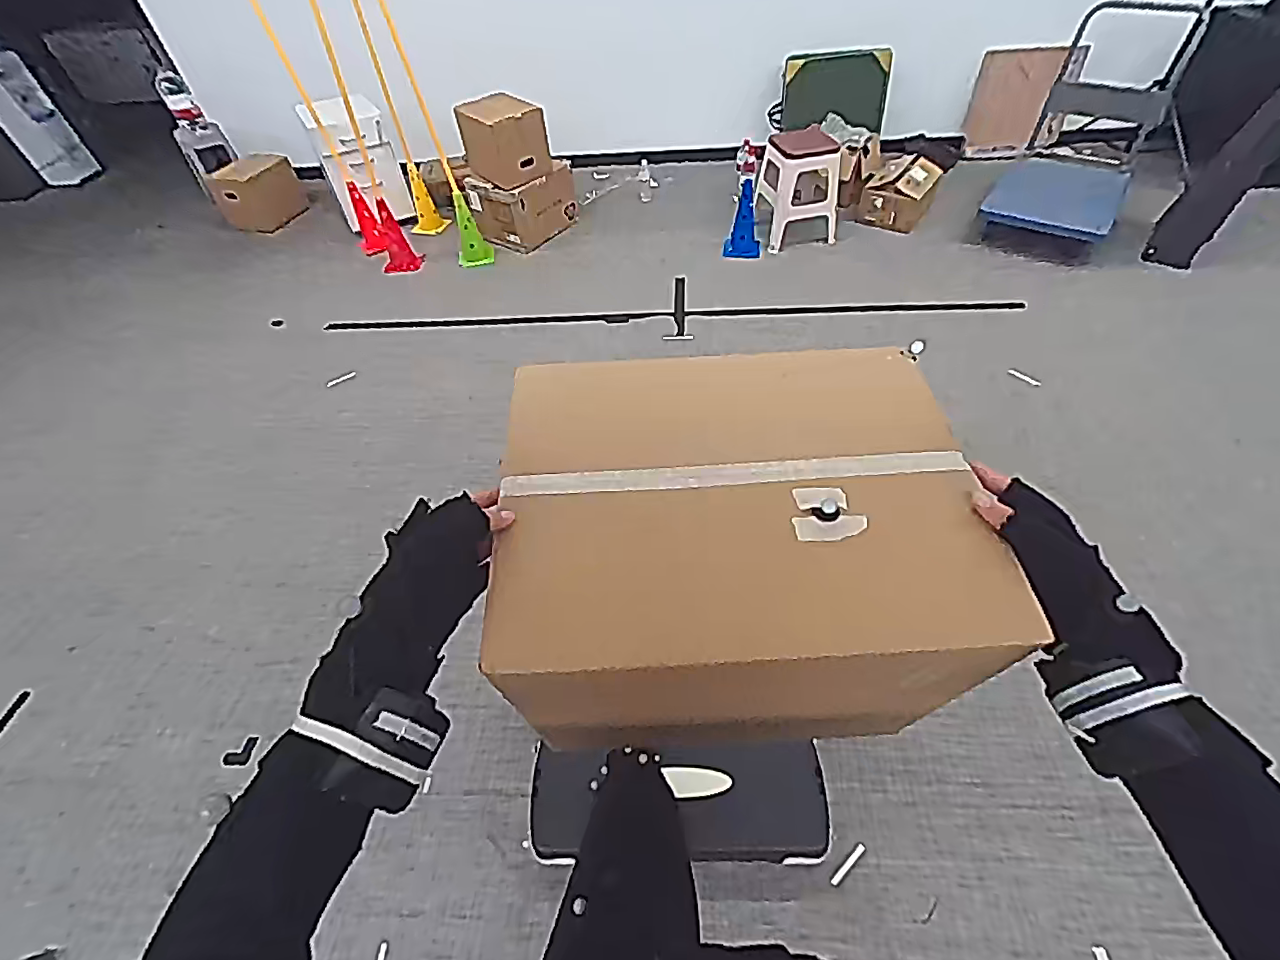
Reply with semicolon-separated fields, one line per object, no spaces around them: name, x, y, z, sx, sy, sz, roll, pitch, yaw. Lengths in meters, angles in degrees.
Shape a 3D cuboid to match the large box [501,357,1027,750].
large box;0.086;0.092;0.605;0.408;0.320;0.320;-3;54;-1
